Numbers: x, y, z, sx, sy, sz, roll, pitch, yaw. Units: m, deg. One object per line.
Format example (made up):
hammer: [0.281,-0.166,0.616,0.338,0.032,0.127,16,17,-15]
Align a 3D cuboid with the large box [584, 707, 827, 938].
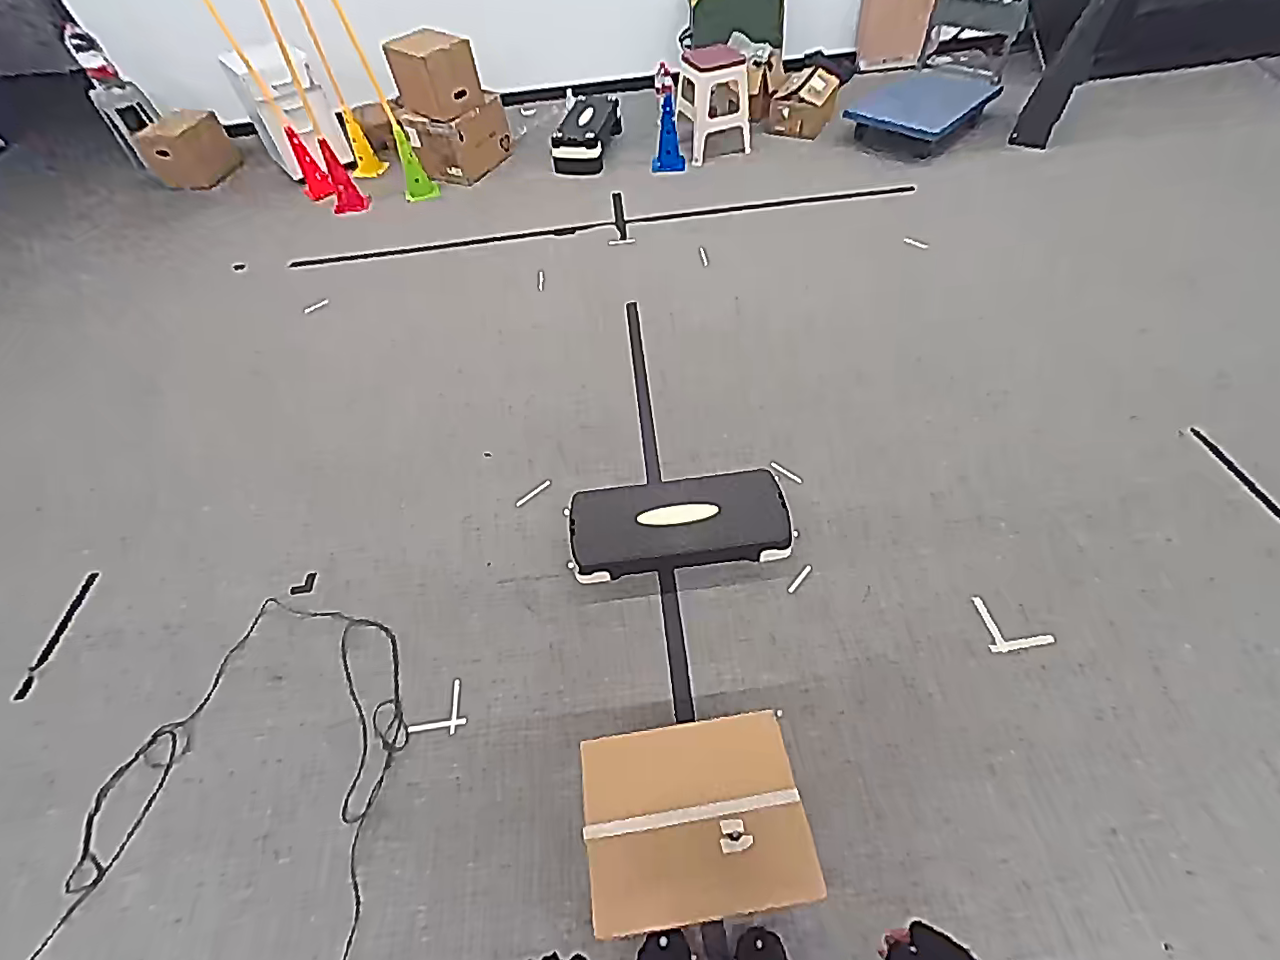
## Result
large box: [0.113,0.710,1.126,0.408,0.320,0.320,-9,53,-3]
